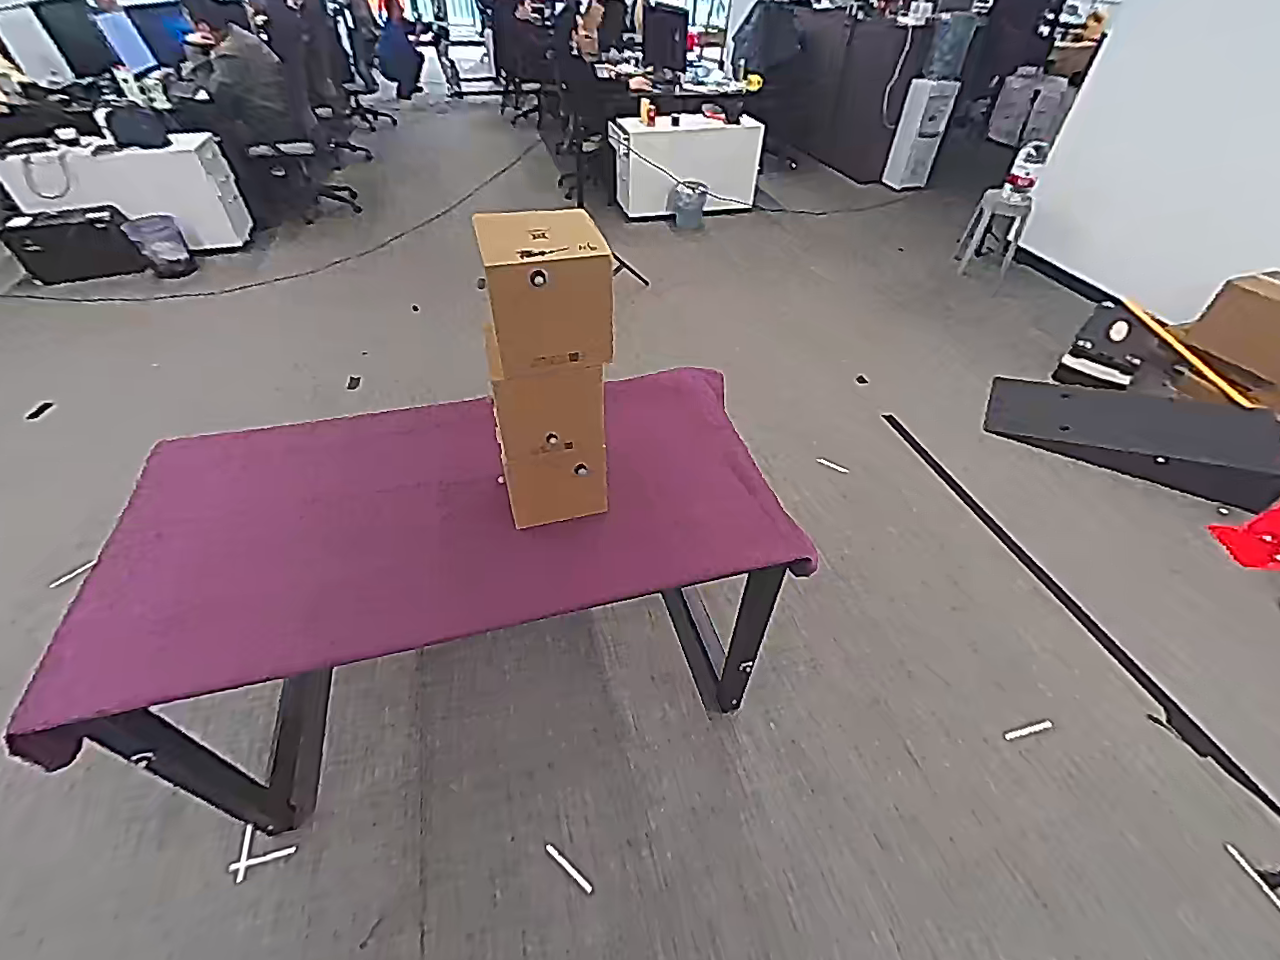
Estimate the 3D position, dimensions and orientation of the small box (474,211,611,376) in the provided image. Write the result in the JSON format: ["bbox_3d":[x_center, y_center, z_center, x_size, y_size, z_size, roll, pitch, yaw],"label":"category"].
[{"bbox_3d":[-0.141,-0.276,0.794,0.168,0.176,0.179,-12,46,-13],"label":"small box"}]

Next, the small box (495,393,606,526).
[{"bbox_3d":[-0.166,-0.038,1.019,0.179,0.176,0.168,-12,45,-12],"label":"small box"}]
